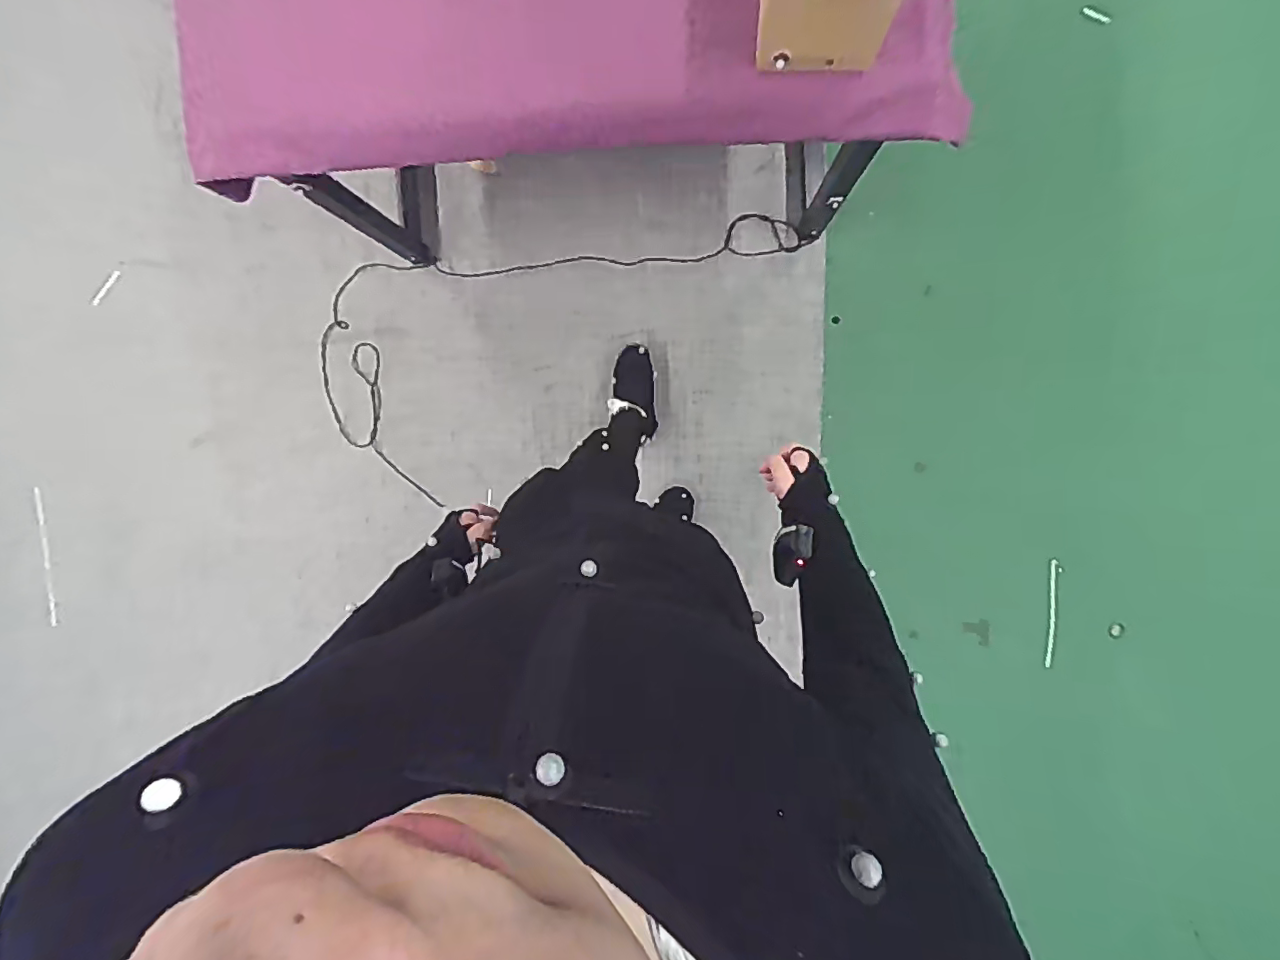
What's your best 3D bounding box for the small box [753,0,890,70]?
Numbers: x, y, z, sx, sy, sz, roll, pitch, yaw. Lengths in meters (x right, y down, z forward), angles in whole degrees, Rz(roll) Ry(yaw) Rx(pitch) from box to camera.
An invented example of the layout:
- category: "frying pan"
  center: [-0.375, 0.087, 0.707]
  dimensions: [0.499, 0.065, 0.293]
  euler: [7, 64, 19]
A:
- category: "small box"
  center: [0.246, -0.687, 0.720]
  dimensions: [0.168, 0.176, 0.179]
  euler: [3, 94, 4]
